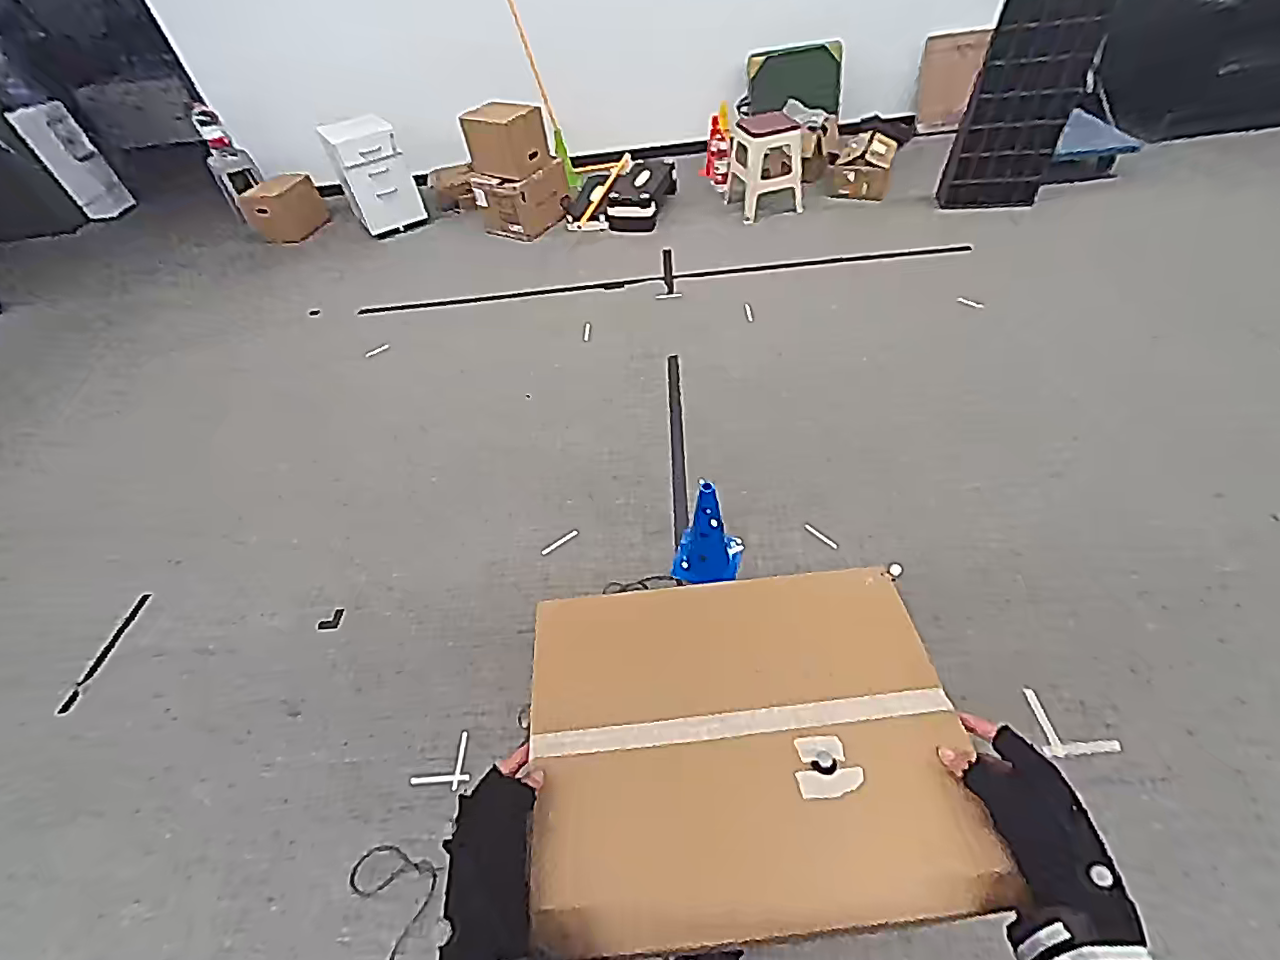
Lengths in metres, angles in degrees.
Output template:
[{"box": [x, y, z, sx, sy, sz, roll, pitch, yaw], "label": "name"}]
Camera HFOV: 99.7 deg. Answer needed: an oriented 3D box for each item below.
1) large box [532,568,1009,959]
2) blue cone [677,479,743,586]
[{"box": [0.102, 0.339, 0.646, 0.408, 0.320, 0.320, -6, 48, -1], "label": "large box"}, {"box": [0.210, 0.142, 1.624, 0.193, 0.380, 0.192, 12, 51, 18], "label": "blue cone"}]
